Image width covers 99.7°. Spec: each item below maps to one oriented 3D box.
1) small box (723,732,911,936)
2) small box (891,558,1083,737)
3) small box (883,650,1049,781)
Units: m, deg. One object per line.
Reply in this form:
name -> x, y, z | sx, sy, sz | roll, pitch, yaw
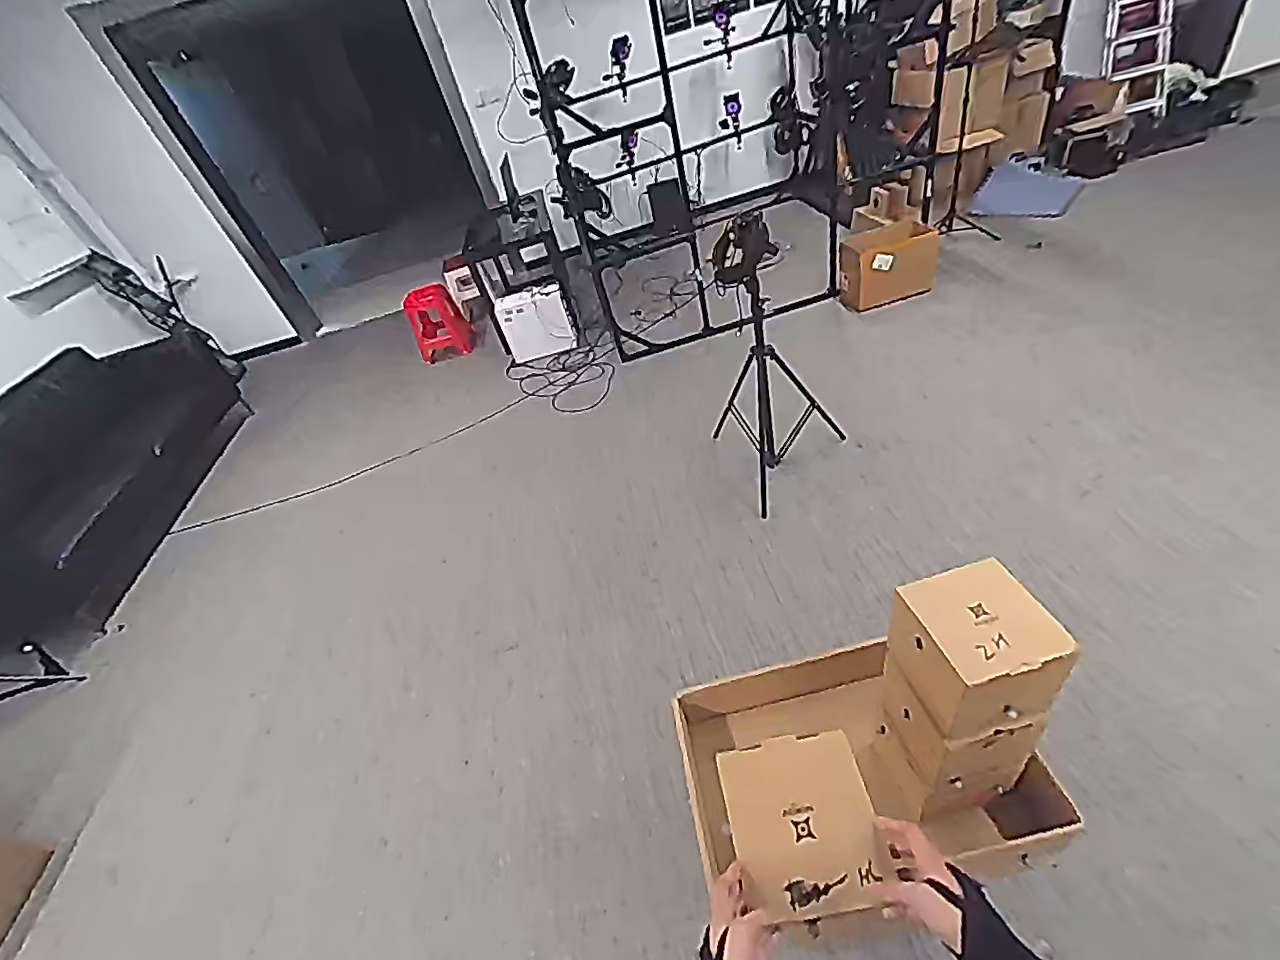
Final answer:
small box -> 0.207, 0.445, 0.677 | 0.168, 0.176, 0.179 | -14, 48, 4
small box -> 0.508, 0.256, 0.827 | 0.168, 0.176, 0.179 | -18, 41, -1
small box -> 0.539, 0.386, 0.923 | 0.168, 0.176, 0.179 | -17, 40, -1
